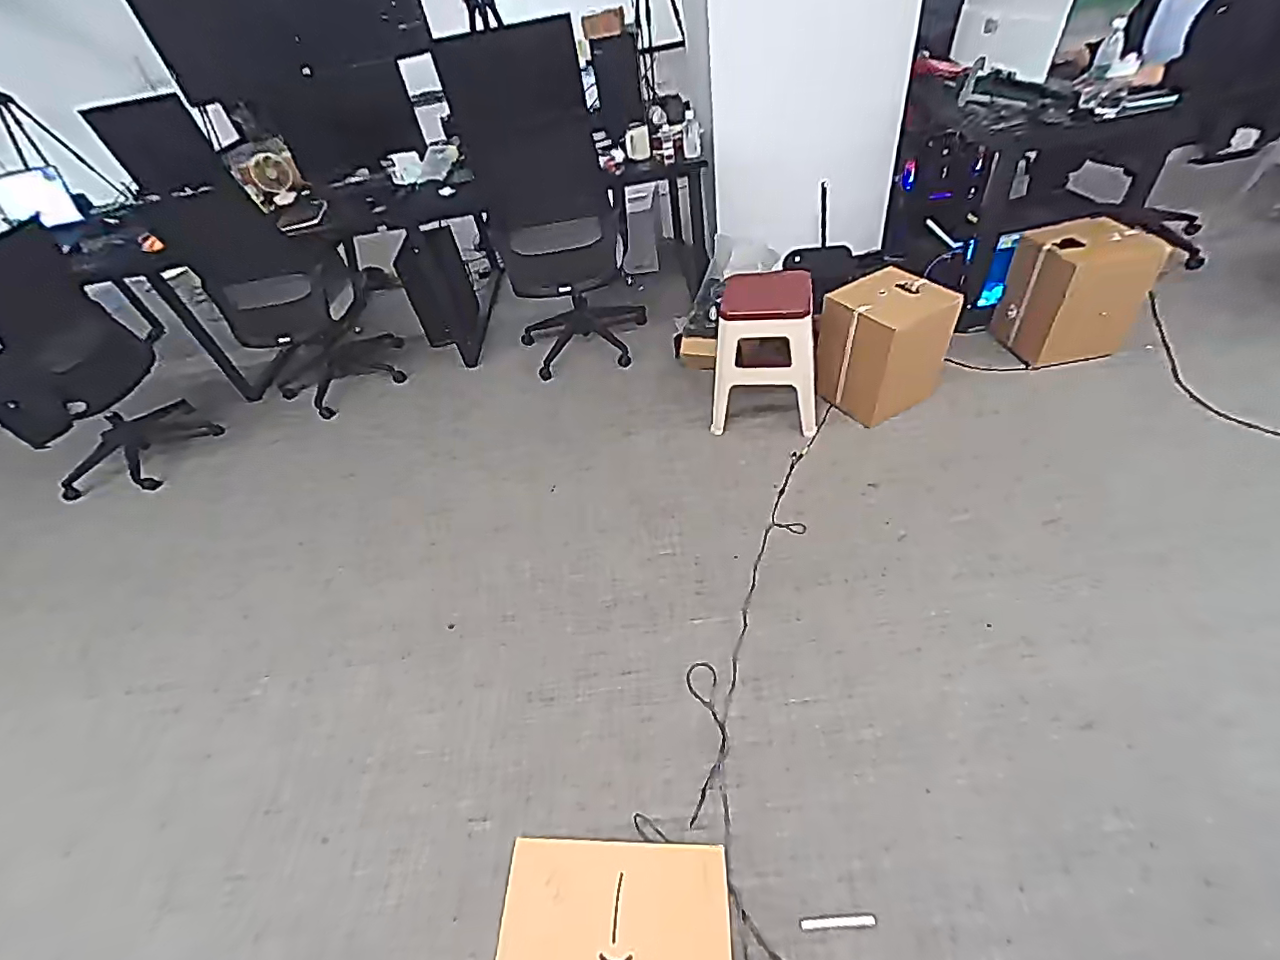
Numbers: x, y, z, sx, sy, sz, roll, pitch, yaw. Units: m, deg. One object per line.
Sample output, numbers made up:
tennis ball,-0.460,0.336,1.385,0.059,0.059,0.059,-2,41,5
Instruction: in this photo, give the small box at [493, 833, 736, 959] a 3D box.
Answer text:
small box,-0.018,0.391,0.405,0.168,0.176,0.179,2,43,0
